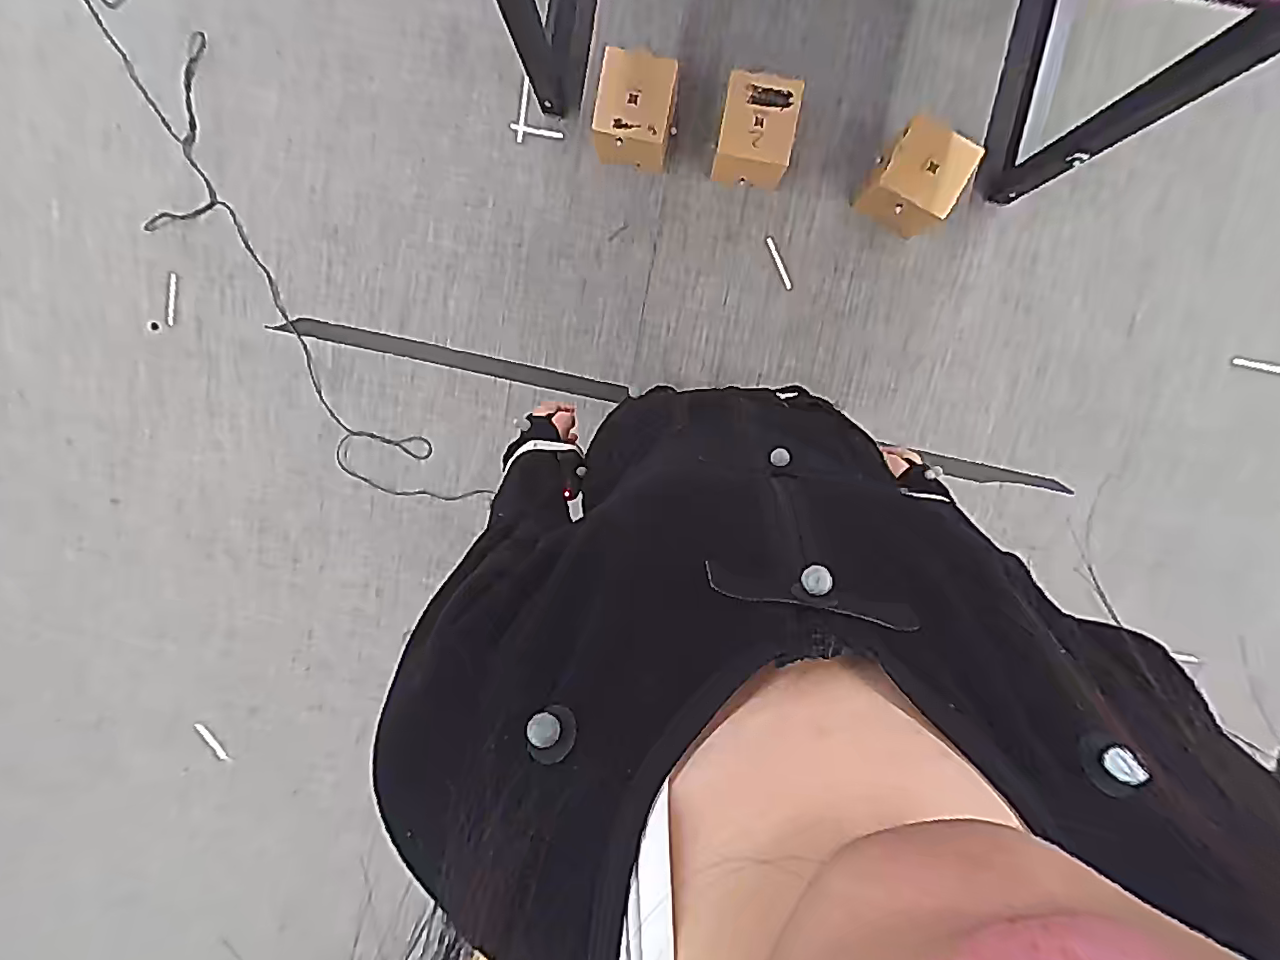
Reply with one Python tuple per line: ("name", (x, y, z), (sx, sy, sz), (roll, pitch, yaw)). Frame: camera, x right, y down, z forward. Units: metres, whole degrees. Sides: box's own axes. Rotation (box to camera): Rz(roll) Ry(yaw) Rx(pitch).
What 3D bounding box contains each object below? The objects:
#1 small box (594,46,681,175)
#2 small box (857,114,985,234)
("small box", (-0.006, -0.861, 1.275), (0.168, 0.176, 0.179), (13, 98, 0))
("small box", (0.650, -0.706, 1.275), (0.179, 0.176, 0.168), (28, 100, -1))
